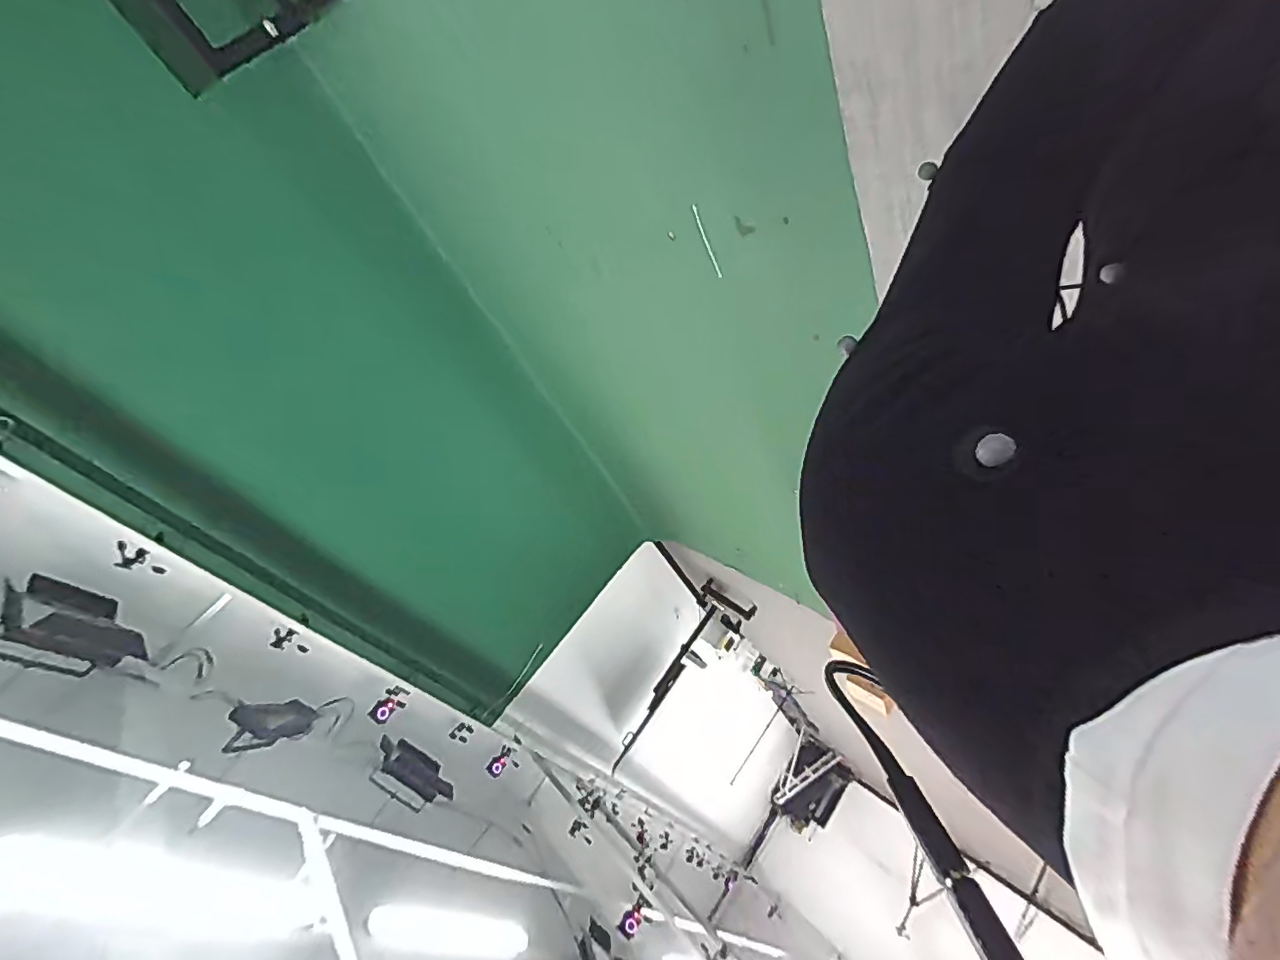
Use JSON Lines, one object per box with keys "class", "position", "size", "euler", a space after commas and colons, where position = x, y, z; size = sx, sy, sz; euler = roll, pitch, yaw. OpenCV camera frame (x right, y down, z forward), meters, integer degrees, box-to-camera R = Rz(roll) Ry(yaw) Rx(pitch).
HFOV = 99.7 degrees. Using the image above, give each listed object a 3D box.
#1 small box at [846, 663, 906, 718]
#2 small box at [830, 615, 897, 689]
{"class": "small box", "position": [0.976, 0.837, 2.224], "size": [0.168, 0.176, 0.179], "euler": [22, 155, 44]}
{"class": "small box", "position": [0.839, 0.638, 2.017], "size": [0.168, 0.176, 0.179], "euler": [21, 154, 43]}
